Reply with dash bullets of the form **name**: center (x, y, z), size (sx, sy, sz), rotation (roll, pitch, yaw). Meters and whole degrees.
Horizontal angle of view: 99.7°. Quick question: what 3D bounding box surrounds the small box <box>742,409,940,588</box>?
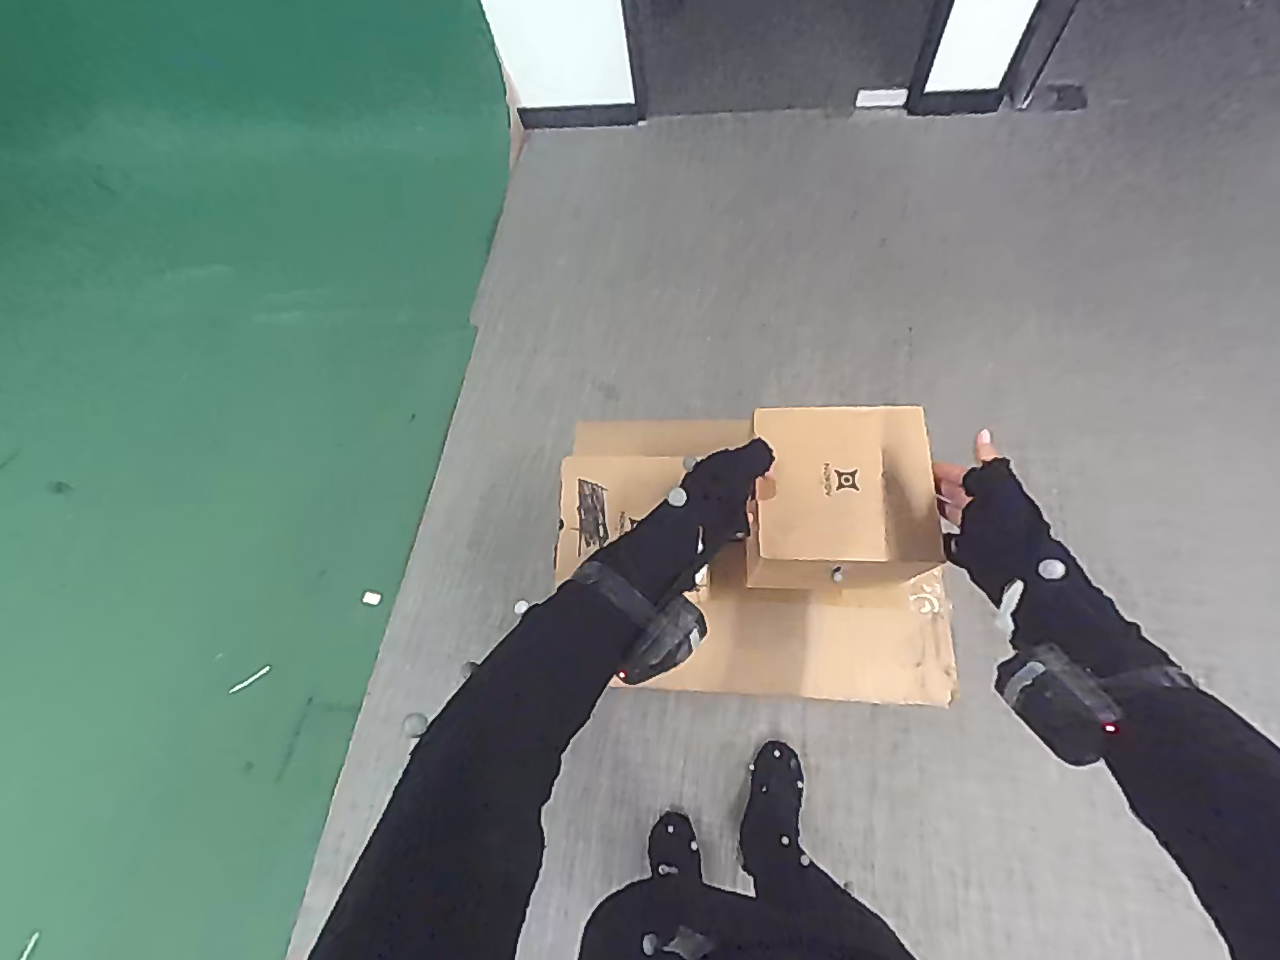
- **small box**: center (0.211, 0.030, 0.624), size (0.179, 0.176, 0.168), rotation (0, 70, 5)

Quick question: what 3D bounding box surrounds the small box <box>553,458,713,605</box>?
- **small box**: center (0.002, 0.072, 0.695), size (0.179, 0.176, 0.168), rotation (1, 78, 8)
